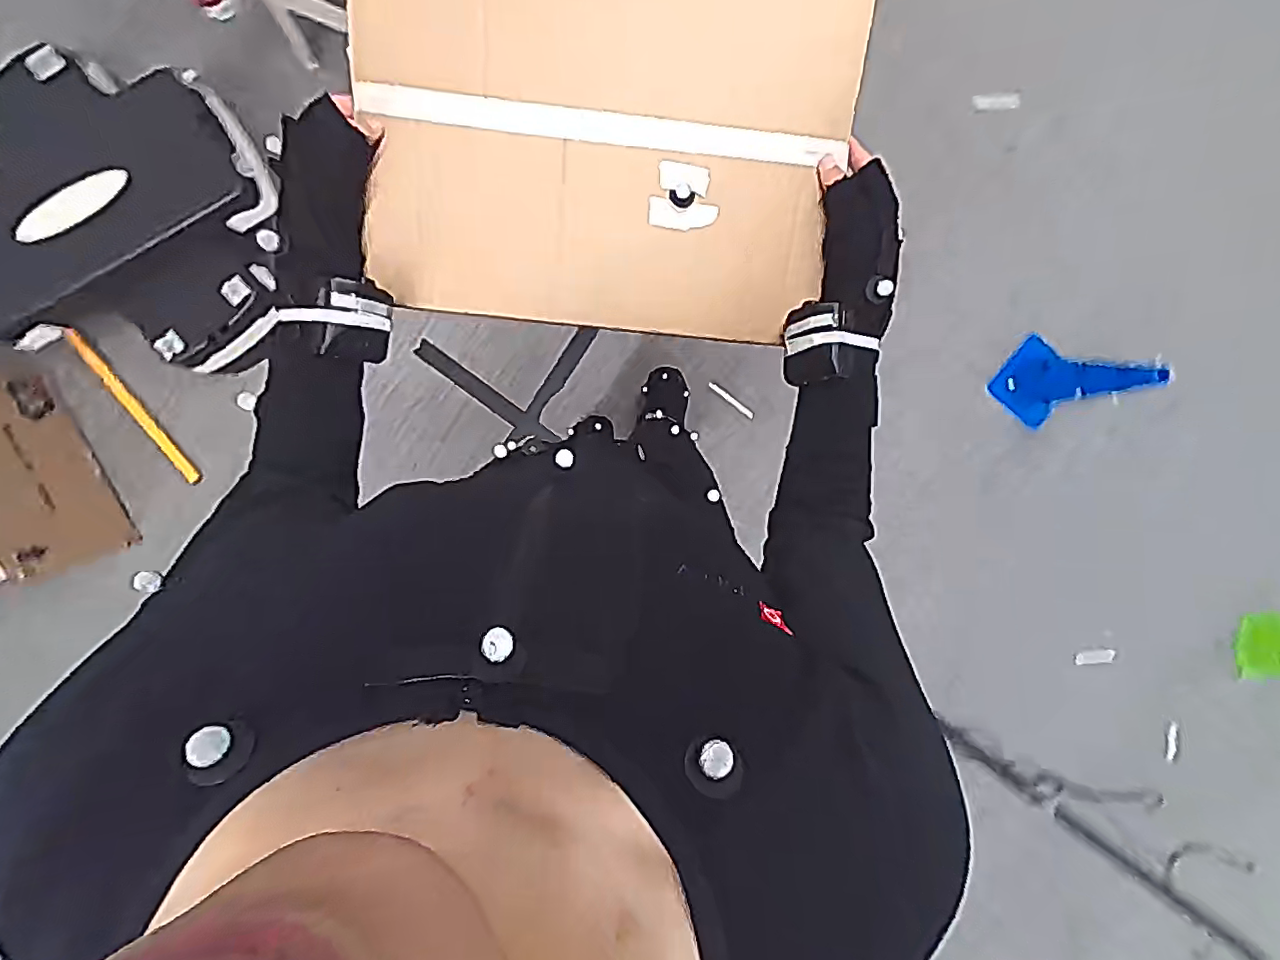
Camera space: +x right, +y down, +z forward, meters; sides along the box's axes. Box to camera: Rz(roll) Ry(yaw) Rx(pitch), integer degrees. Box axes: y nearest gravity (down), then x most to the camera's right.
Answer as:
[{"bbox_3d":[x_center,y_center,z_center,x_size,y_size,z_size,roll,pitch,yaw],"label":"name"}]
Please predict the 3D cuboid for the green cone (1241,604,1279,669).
[{"bbox_3d":[1.921,0.490,1.457,0.200,0.368,0.202,-2,97,-3],"label":"green cone"}]

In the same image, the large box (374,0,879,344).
[{"bbox_3d":[-0.026,-0.331,0.594,0.408,0.320,0.320,6,107,-5],"label":"large box"}]

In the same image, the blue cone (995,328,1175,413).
[{"bbox_3d":[1.099,-0.277,1.328,0.193,0.380,0.192,38,94,-7],"label":"blue cone"}]
